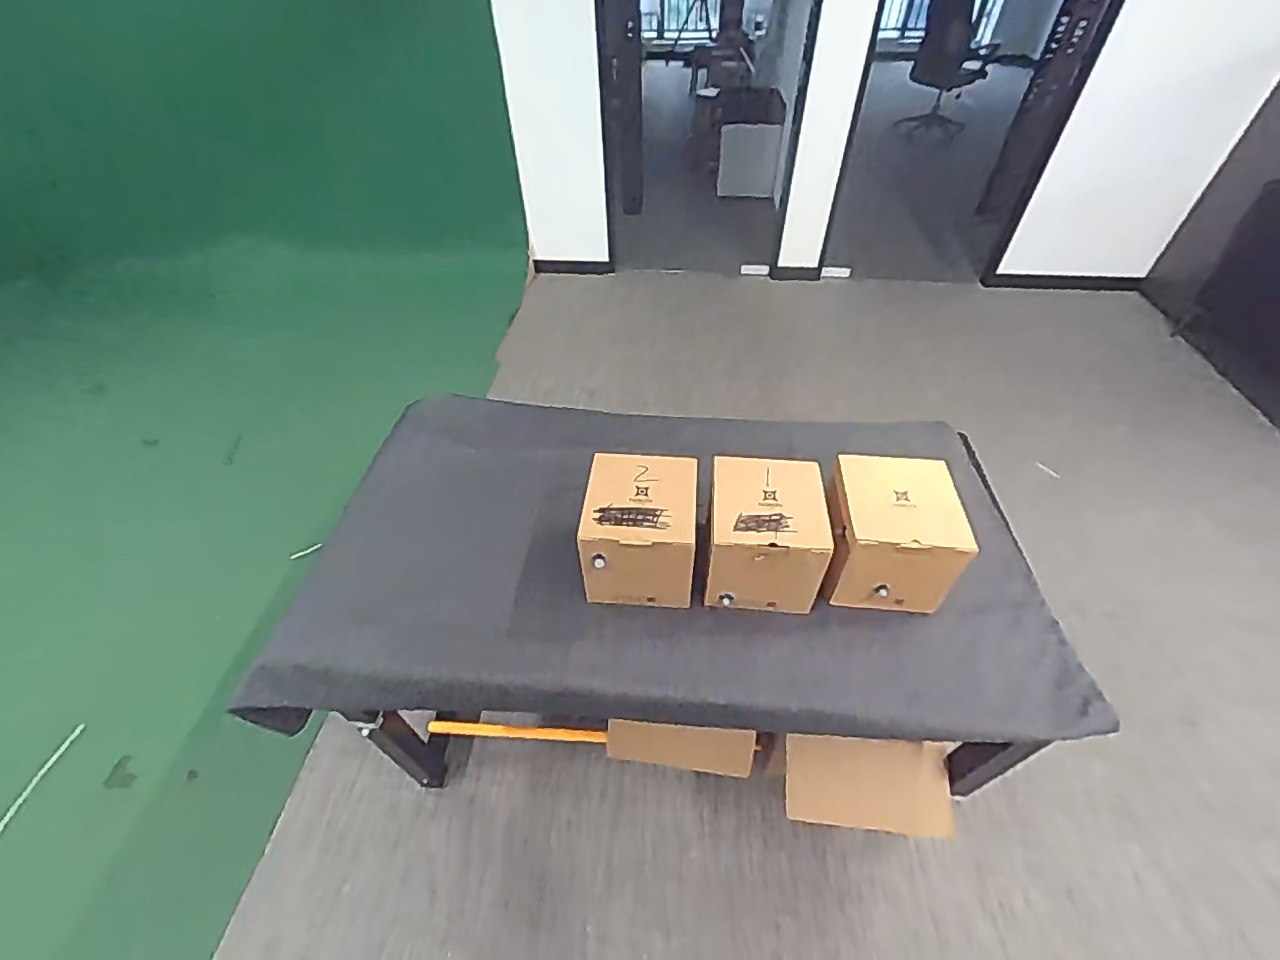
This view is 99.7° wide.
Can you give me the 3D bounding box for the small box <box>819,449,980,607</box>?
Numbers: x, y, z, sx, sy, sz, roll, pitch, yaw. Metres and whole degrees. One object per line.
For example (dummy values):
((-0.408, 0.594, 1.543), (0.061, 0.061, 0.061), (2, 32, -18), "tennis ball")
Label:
((0.389, 0.075, 0.851), (0.168, 0.176, 0.179), (4, 48, 5), "small box")
